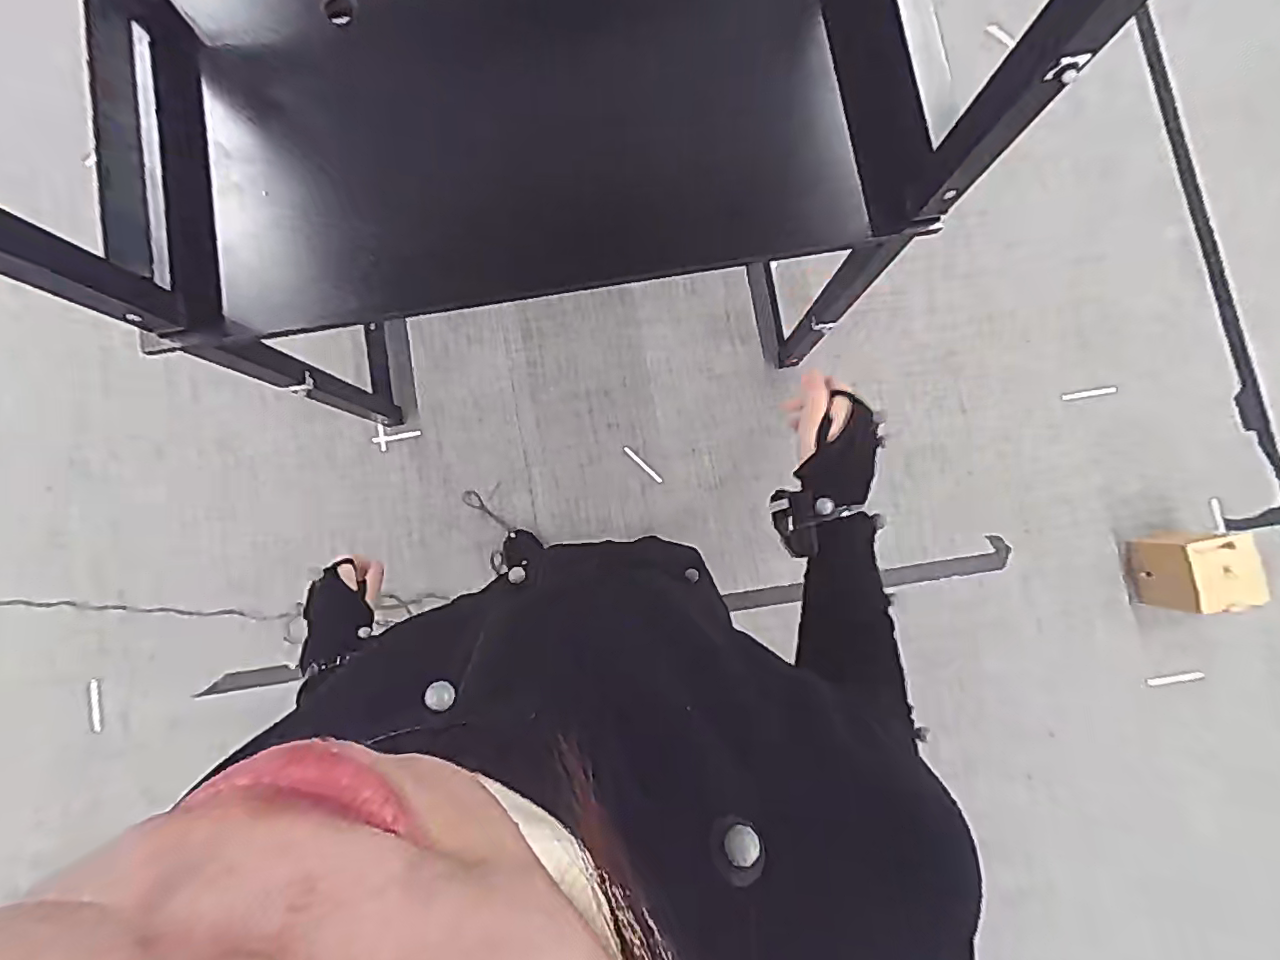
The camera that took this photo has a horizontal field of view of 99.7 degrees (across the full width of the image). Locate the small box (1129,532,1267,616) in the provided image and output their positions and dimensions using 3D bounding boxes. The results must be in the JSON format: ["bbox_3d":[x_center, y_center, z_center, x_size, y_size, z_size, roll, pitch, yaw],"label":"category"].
[{"bbox_3d":[1.421,0.234,1.389,0.168,0.176,0.179,-10,87,0],"label":"small box"}]
